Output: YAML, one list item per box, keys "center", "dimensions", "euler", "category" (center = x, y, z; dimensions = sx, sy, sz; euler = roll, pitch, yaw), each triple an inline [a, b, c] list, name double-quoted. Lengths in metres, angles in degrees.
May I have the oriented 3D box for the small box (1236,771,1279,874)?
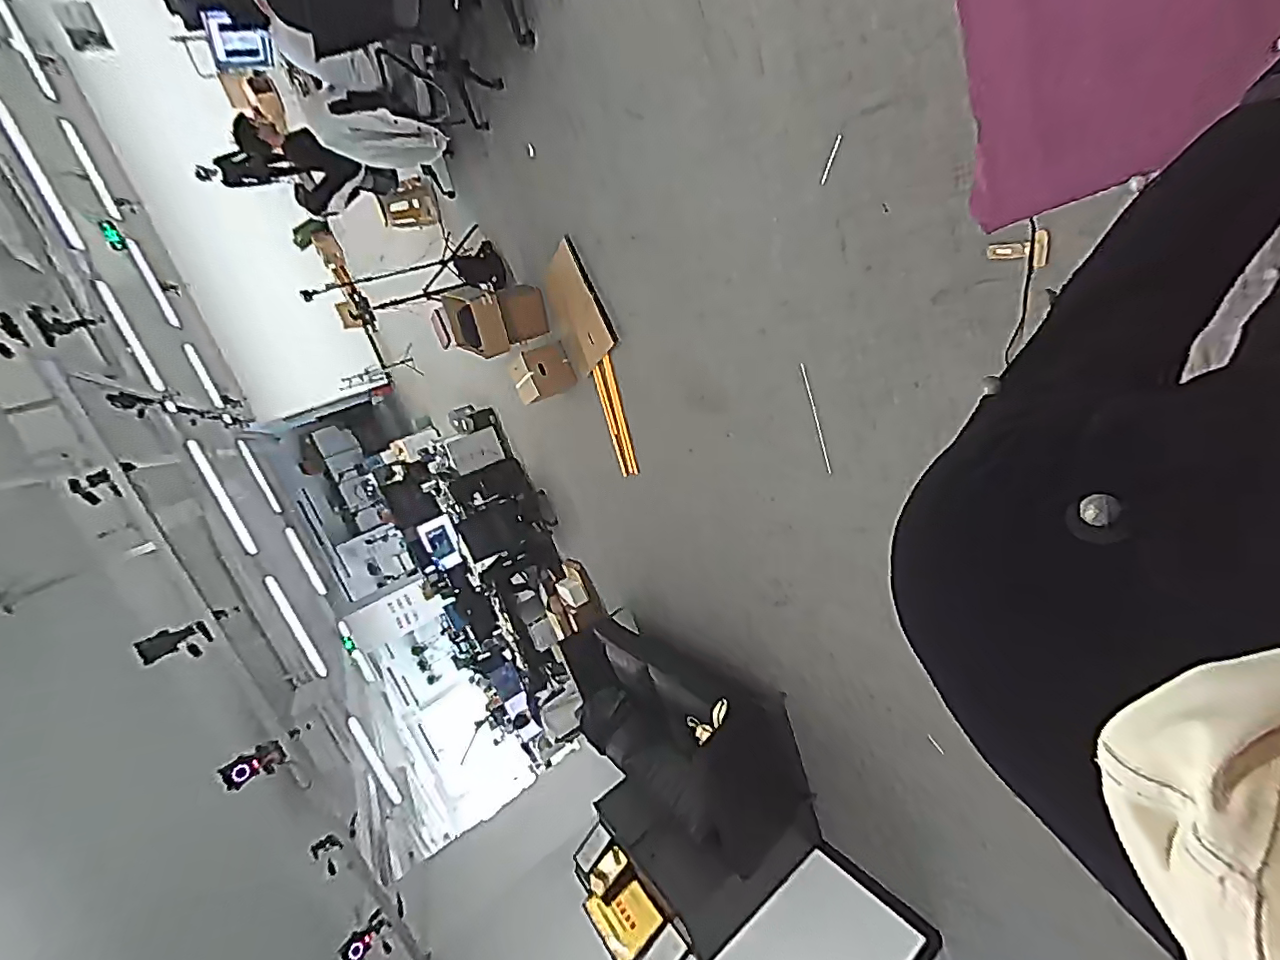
- center: [1.629, 0.867, 1.336]
  dimensions: [0.179, 0.176, 0.168]
  euler: [7, 120, 60]
  category: "small box"

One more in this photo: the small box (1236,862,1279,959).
- center: [1.724, 1.164, 1.426]
  dimensions: [0.179, 0.176, 0.168]
  euler: [7, 120, 59]
  category: "small box"
